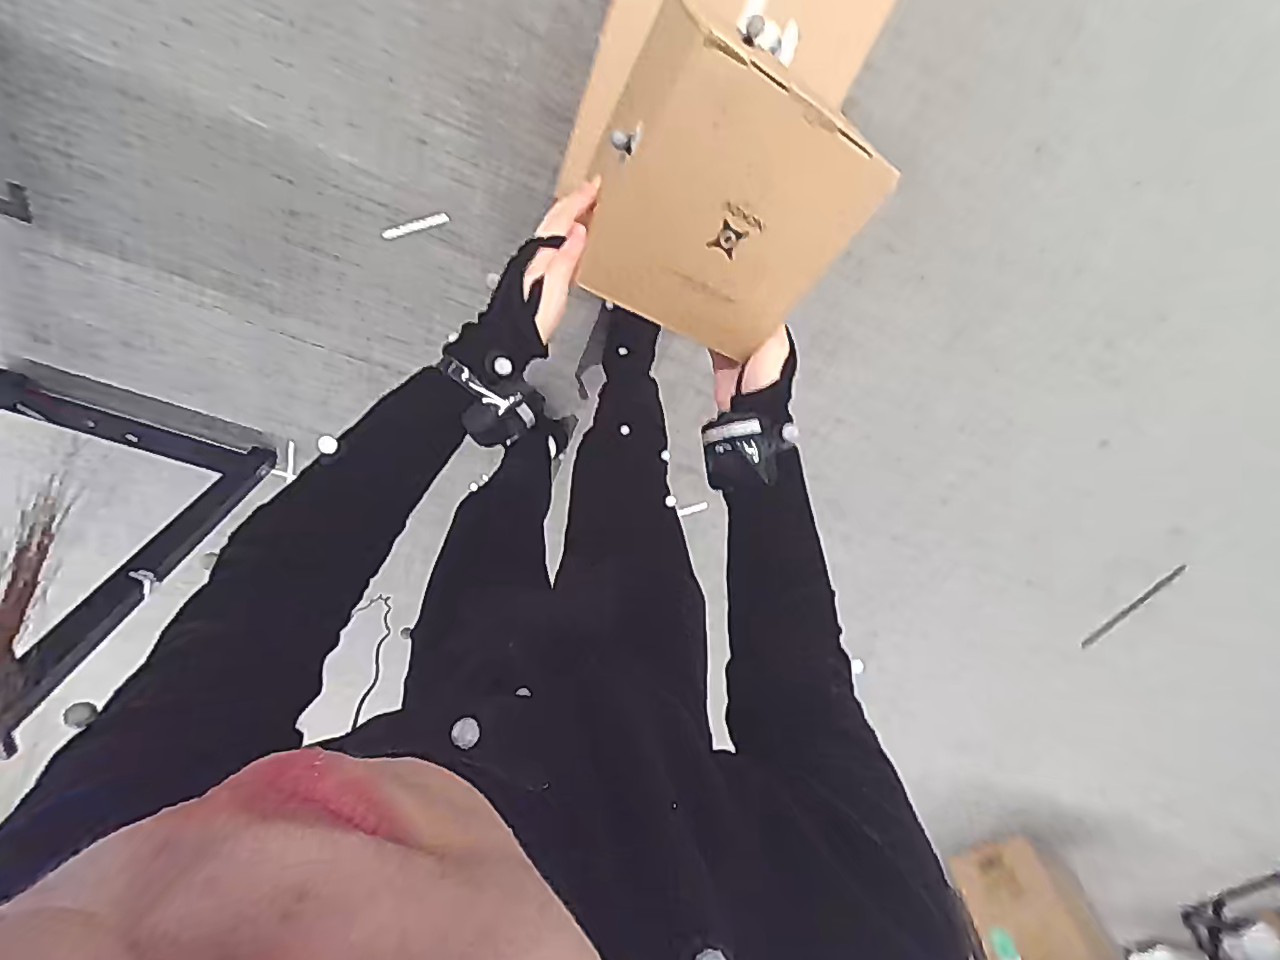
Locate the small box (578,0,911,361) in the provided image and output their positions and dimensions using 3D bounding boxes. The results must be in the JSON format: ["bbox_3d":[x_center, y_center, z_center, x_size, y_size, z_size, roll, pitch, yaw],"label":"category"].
[{"bbox_3d":[0.059,-0.233,0.420,0.168,0.176,0.179,18,135,-25],"label":"small box"}]
